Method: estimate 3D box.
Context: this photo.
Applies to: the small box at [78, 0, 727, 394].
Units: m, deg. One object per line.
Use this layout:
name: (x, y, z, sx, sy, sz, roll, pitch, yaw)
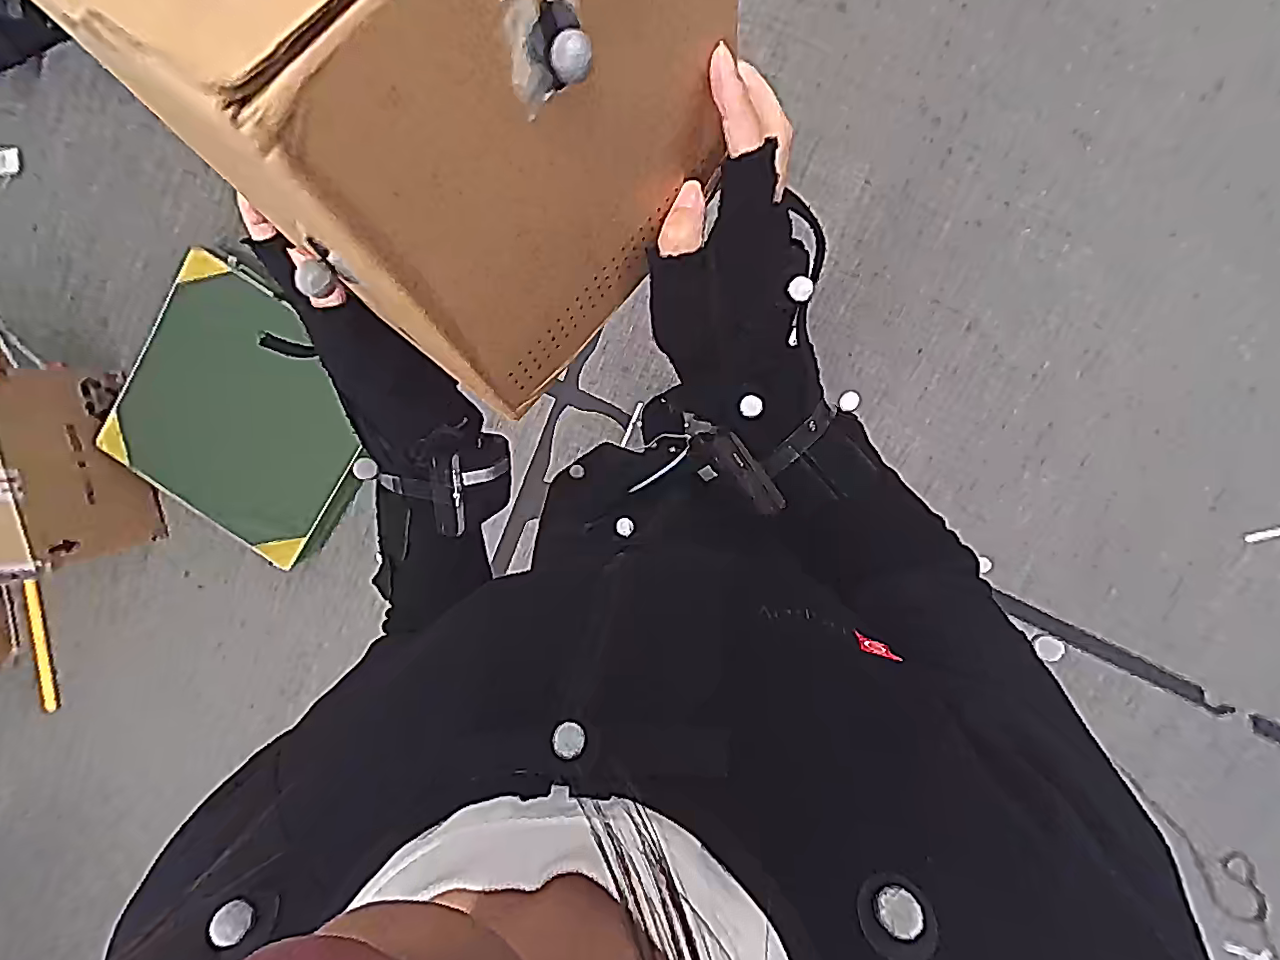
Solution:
small box: (-0.072, -0.169, 0.237, 0.168, 0.176, 0.179, 38, 82, 16)
